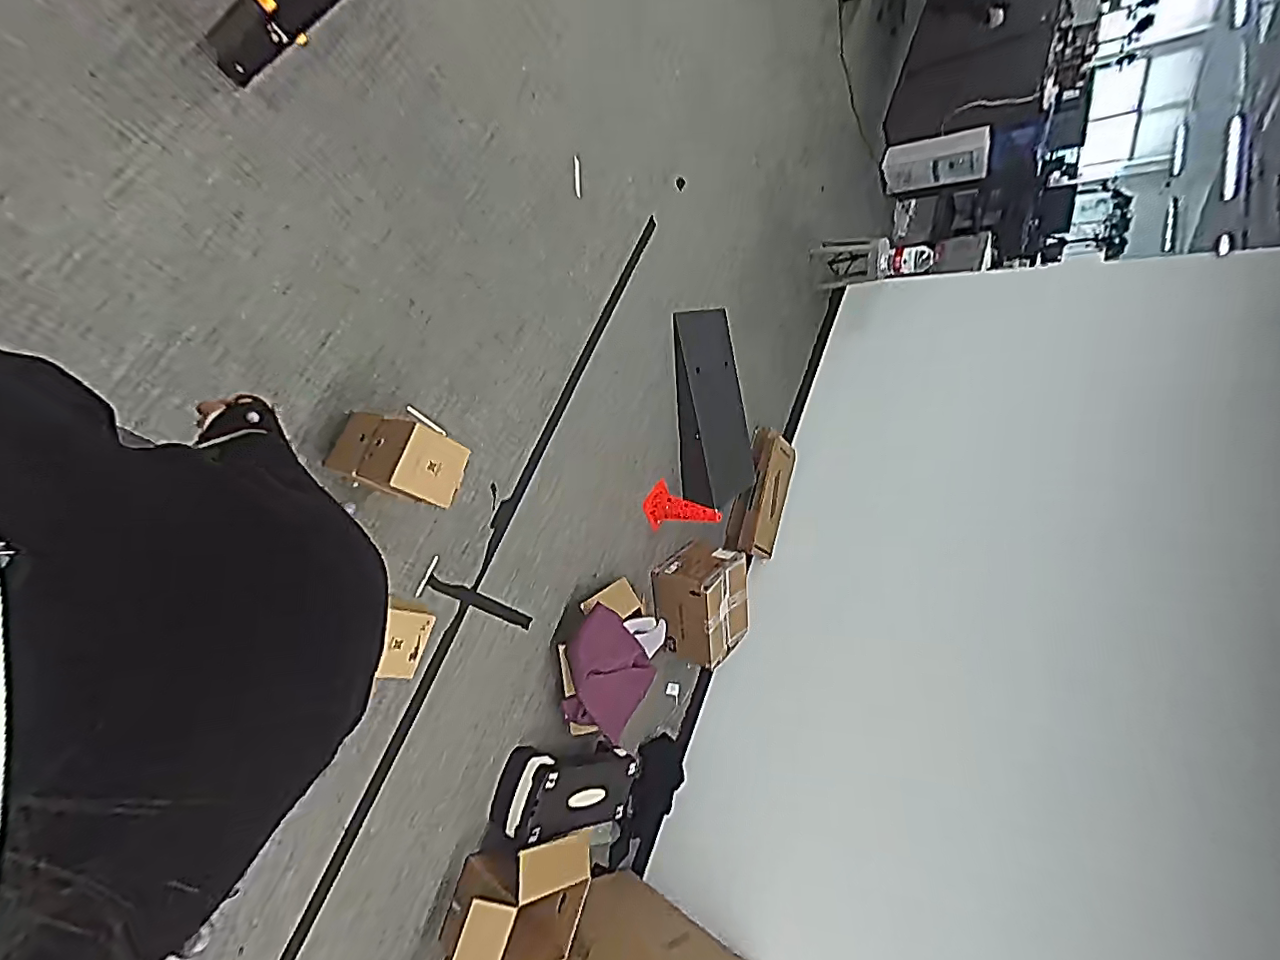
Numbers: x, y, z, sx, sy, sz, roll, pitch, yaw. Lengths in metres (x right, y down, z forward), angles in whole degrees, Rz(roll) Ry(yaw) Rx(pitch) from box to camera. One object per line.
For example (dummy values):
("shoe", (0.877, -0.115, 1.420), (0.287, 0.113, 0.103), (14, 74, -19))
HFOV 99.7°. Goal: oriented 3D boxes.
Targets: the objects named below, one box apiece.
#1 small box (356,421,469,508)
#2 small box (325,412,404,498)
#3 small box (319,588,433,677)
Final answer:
("small box", (-0.578, -0.044, 1.376), (0.179, 0.176, 0.168), (34, 69, -50))
("small box", (-0.712, -0.072, 1.464), (0.168, 0.176, 0.179), (39, 67, -49))
("small box", (-0.666, 0.381, 1.361), (0.179, 0.176, 0.168), (33, 72, -50))
